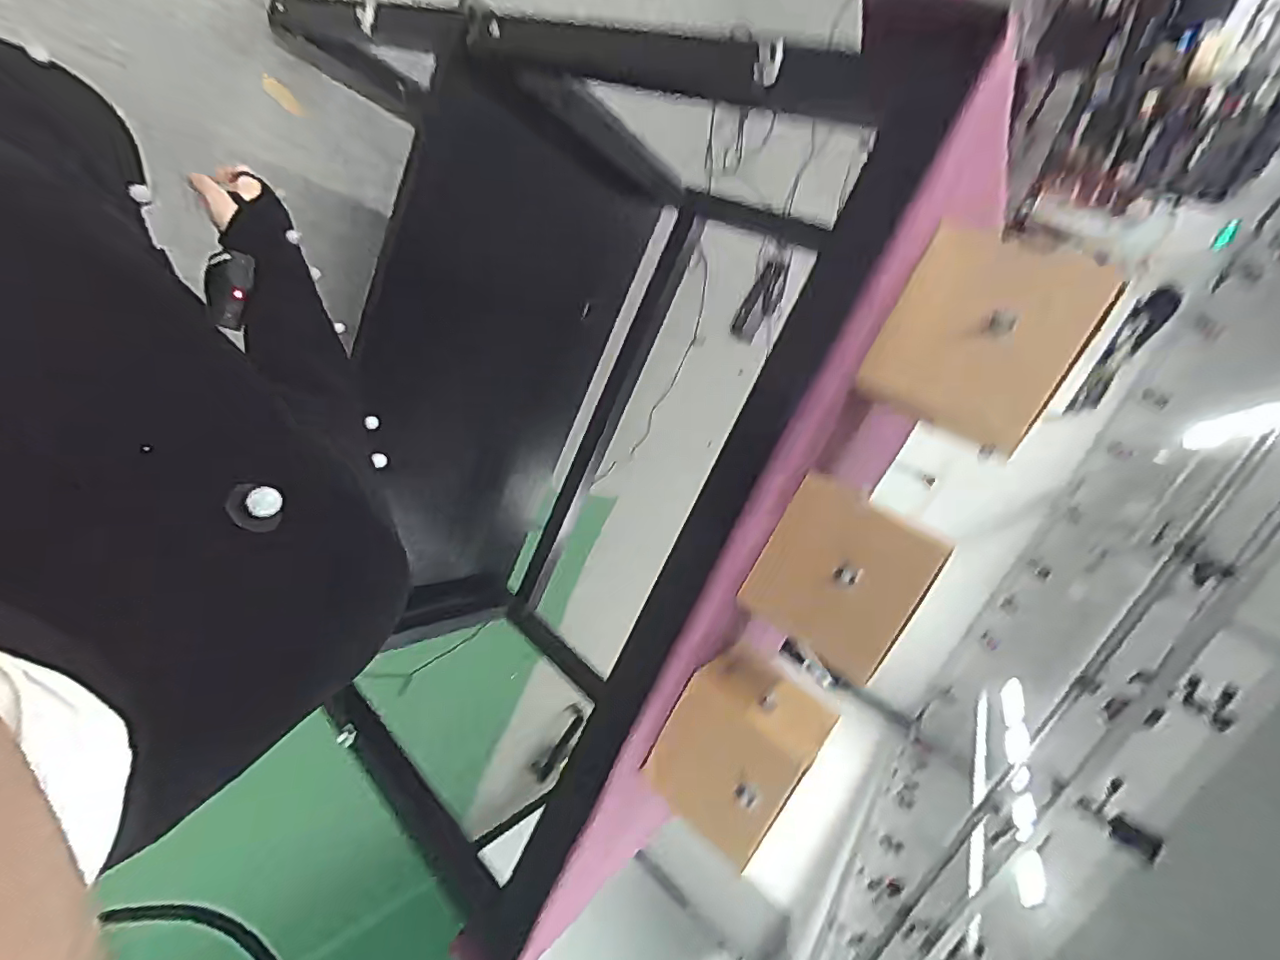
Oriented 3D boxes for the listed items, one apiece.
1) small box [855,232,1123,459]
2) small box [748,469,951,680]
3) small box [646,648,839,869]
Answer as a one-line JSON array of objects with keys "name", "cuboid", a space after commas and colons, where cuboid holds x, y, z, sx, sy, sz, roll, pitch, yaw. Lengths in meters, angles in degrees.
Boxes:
[{"name": "small box", "cuboid": [0.363, -0.142, 0.592, 0.168, 0.176, 0.179, 6, 113, -58]}, {"name": "small box", "cuboid": [0.252, 0.106, 0.663, 0.168, 0.176, 0.179, 8, 111, -60]}, {"name": "small box", "cuboid": [0.134, 0.349, 0.723, 0.168, 0.176, 0.179, 2, 116, -58]}]
